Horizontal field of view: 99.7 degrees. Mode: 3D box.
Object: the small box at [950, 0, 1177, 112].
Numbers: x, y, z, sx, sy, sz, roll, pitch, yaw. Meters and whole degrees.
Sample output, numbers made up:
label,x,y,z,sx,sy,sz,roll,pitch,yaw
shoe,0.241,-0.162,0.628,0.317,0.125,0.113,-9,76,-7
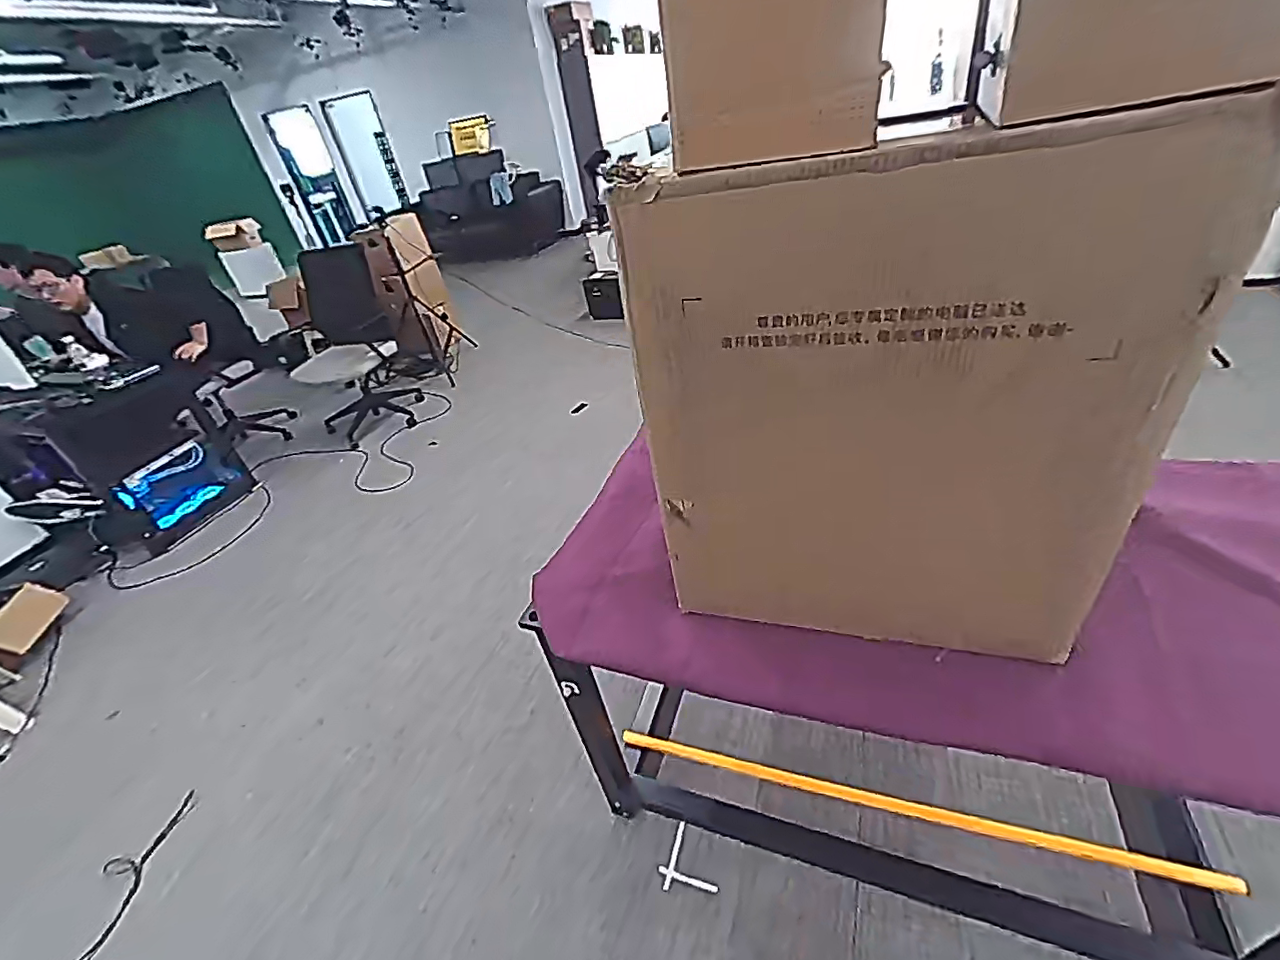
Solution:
label,x,y,z,sx,sy,sz,roll,pitch,yaw
small box,0.431,-0.498,0.562,0.168,0.176,0.179,4,38,23
